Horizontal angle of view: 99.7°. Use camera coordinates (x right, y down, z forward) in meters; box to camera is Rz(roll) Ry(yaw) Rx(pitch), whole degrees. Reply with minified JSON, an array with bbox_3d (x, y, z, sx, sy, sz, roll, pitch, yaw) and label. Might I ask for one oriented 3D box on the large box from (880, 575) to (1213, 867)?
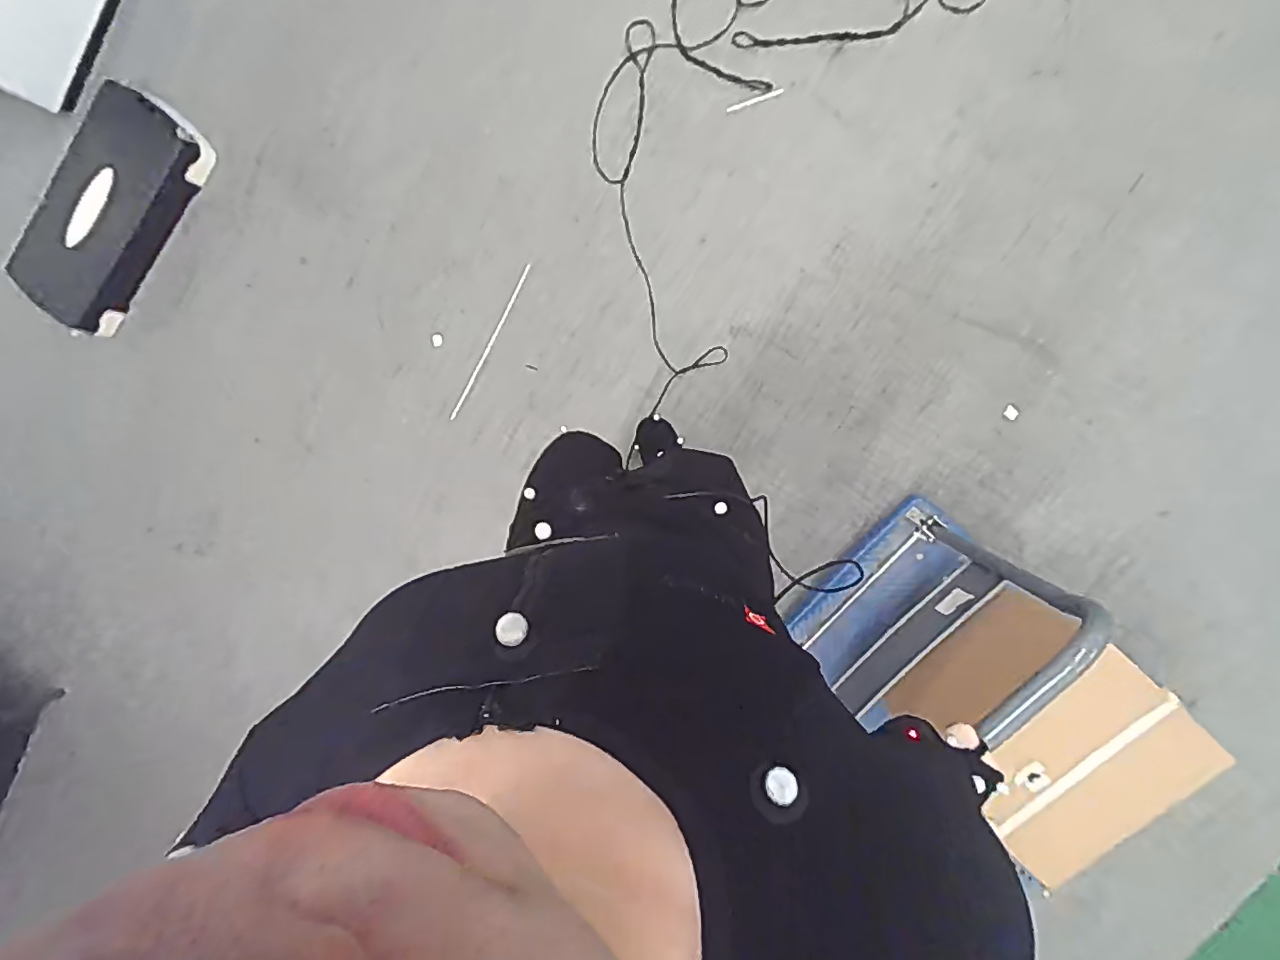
[{"bbox_3d":[0.806,0.478,1.145,0.320,0.320,0.408,43,101,1],"label":"large box"}]
